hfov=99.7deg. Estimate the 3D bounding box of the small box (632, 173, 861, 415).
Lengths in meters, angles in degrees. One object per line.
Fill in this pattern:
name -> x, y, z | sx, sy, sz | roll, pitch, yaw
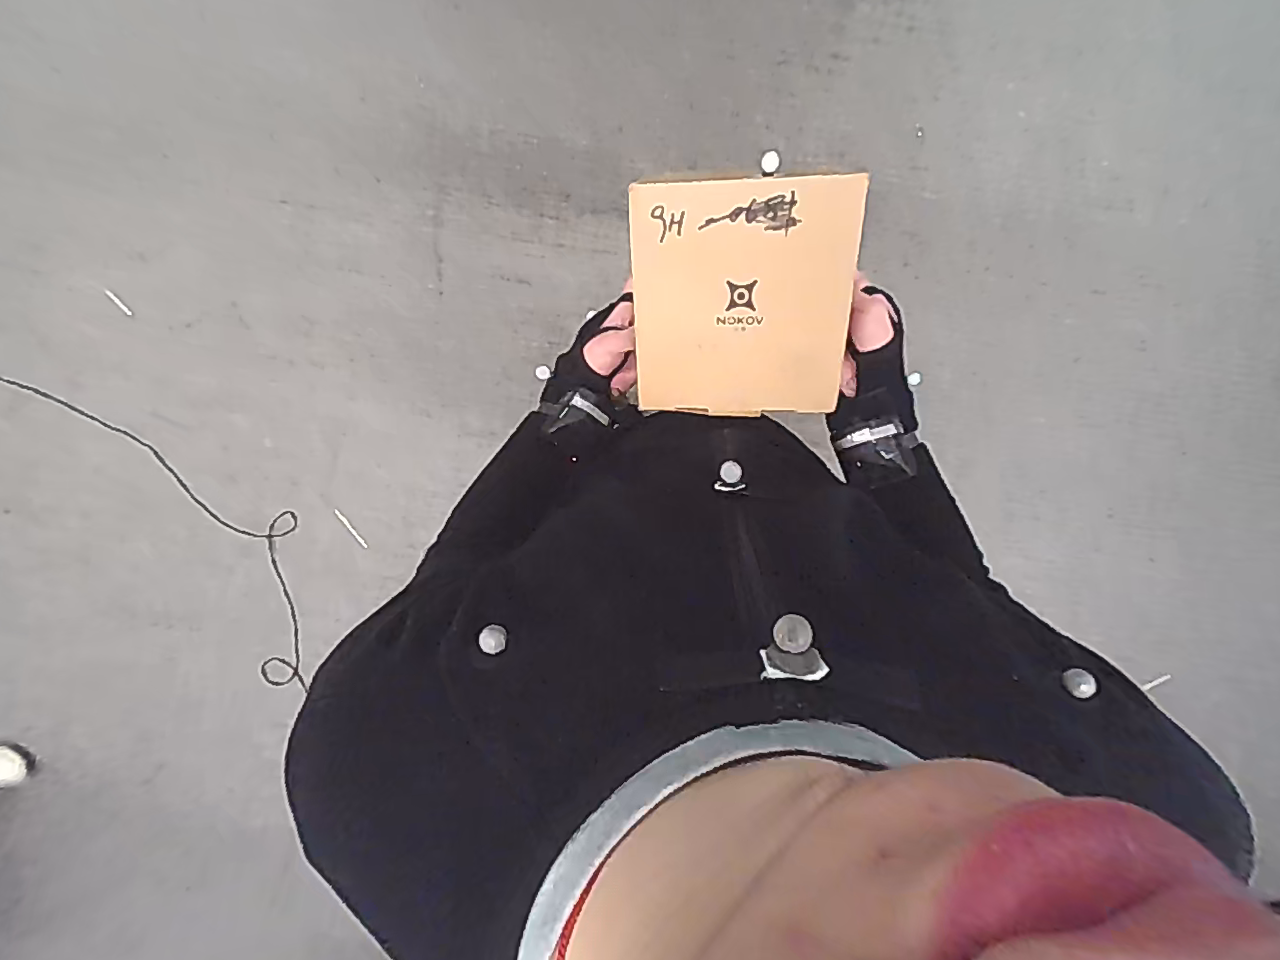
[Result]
small box -> 0.087, -0.175, 0.496 | 0.168, 0.176, 0.179 | 2, 122, 7
